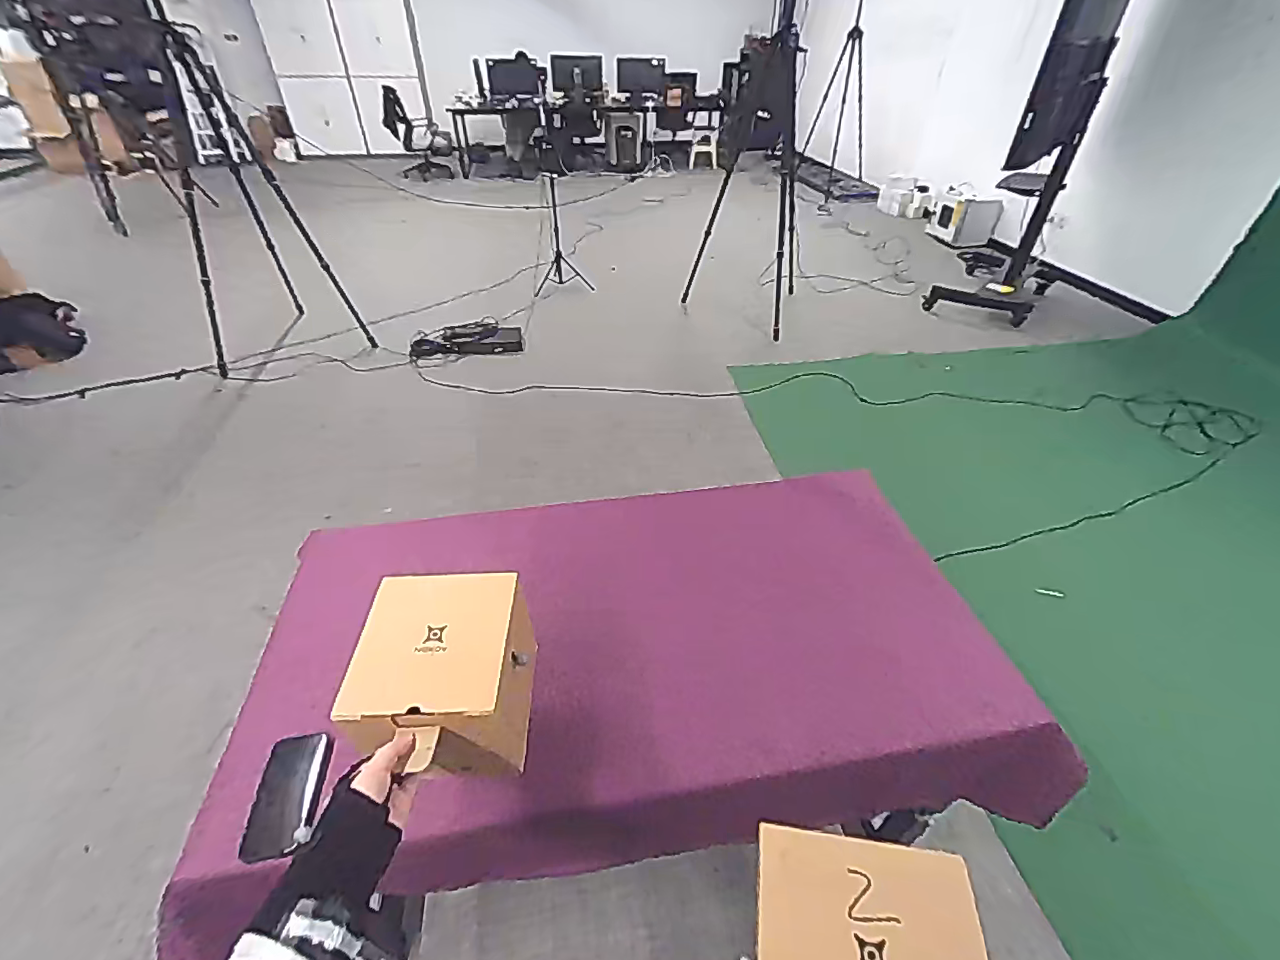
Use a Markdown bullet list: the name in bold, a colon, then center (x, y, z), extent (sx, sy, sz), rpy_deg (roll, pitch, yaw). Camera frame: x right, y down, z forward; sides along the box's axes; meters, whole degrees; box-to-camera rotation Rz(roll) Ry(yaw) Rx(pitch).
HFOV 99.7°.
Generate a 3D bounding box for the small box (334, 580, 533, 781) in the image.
- **small box**: center (-0.228, 0.241, 0.655), extent (0.168, 0.176, 0.179), rpy_deg (-1, 44, -1)
